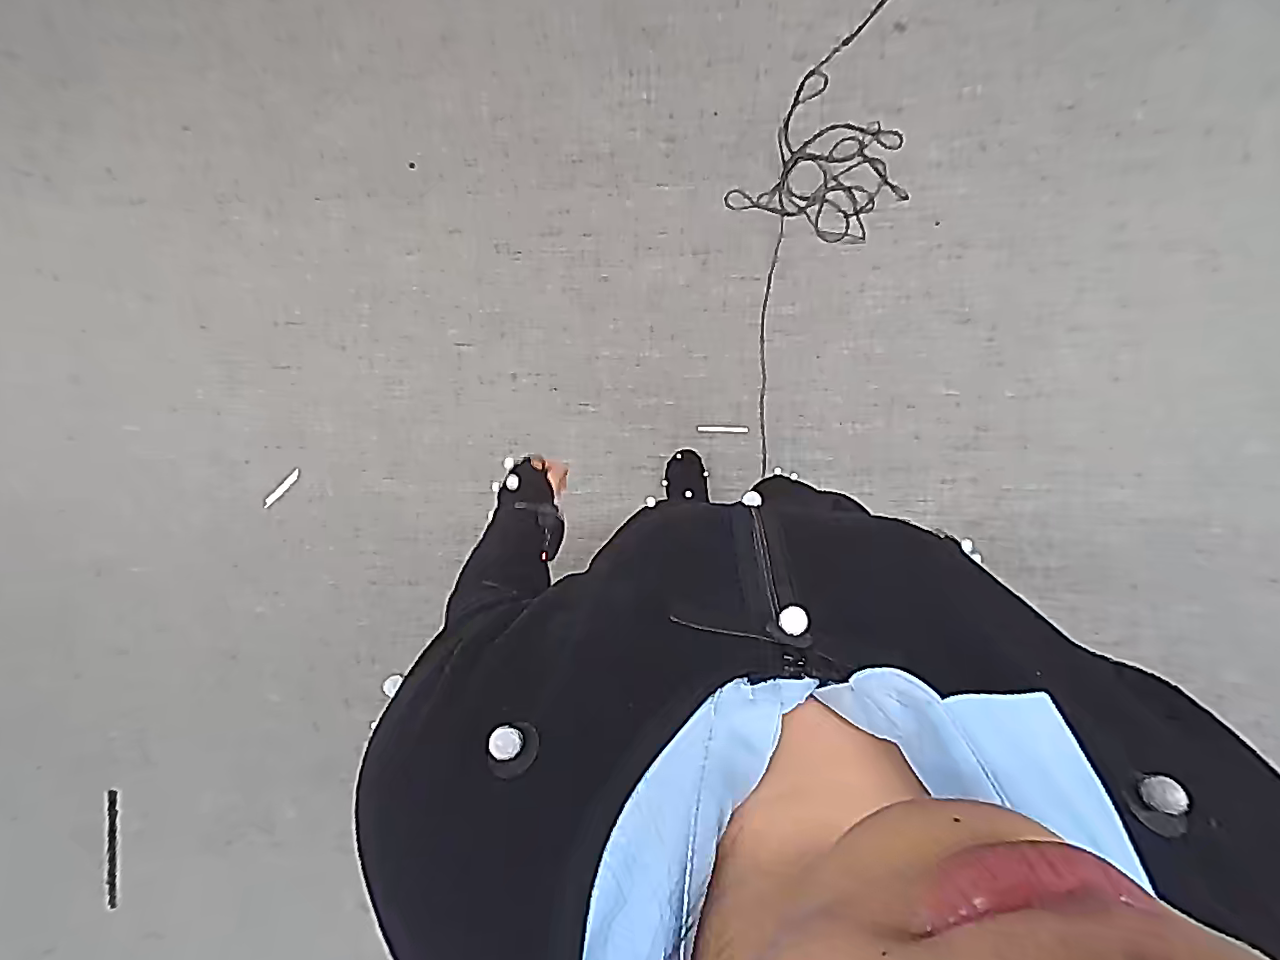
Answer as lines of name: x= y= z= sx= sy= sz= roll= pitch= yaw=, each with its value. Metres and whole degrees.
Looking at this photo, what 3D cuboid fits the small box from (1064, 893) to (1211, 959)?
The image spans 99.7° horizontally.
small box: x=1.052 y=1.020 z=1.144 sx=0.179 sy=0.176 sz=0.168 roll=3 pitch=89 yaw=6
